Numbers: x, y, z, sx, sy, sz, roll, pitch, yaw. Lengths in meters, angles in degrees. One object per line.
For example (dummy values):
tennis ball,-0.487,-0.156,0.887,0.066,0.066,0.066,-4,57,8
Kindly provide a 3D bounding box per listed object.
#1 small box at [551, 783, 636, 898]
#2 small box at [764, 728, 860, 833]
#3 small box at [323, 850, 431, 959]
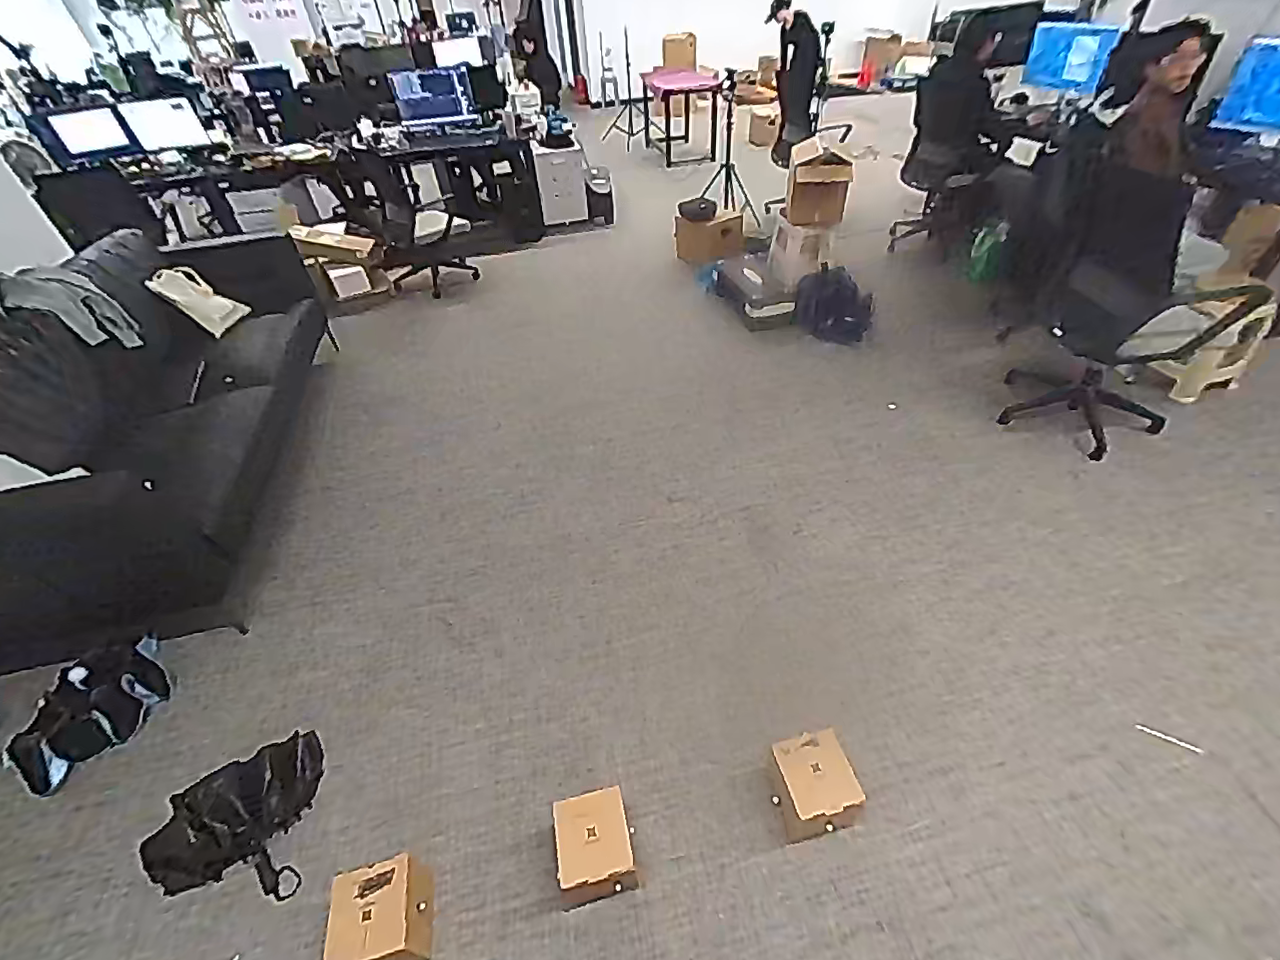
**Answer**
small box,-0.110,0.865,1.290,0.168,0.176,0.179,-11,41,-9
small box,0.422,0.758,1.356,0.168,0.176,0.179,-11,43,-7
small box,-0.577,0.972,1.209,0.168,0.176,0.179,-14,44,-9
